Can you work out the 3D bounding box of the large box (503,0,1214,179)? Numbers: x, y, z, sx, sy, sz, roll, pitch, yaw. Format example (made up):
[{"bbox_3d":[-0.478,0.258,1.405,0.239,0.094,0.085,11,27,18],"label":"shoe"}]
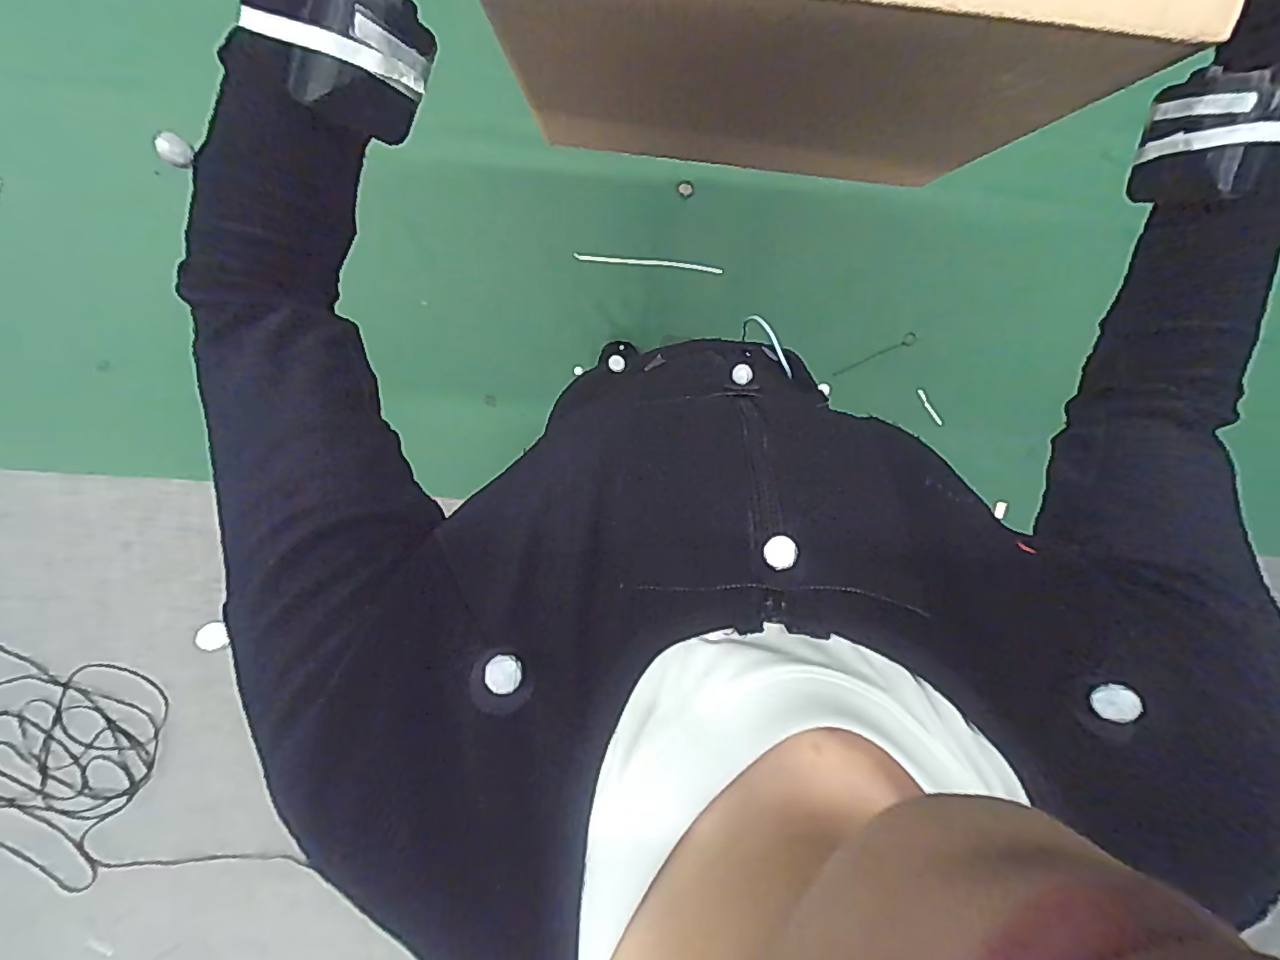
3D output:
[{"bbox_3d":[0.119,-0.443,0.391,0.408,0.320,0.320,5,106,-3],"label":"large box"}]
